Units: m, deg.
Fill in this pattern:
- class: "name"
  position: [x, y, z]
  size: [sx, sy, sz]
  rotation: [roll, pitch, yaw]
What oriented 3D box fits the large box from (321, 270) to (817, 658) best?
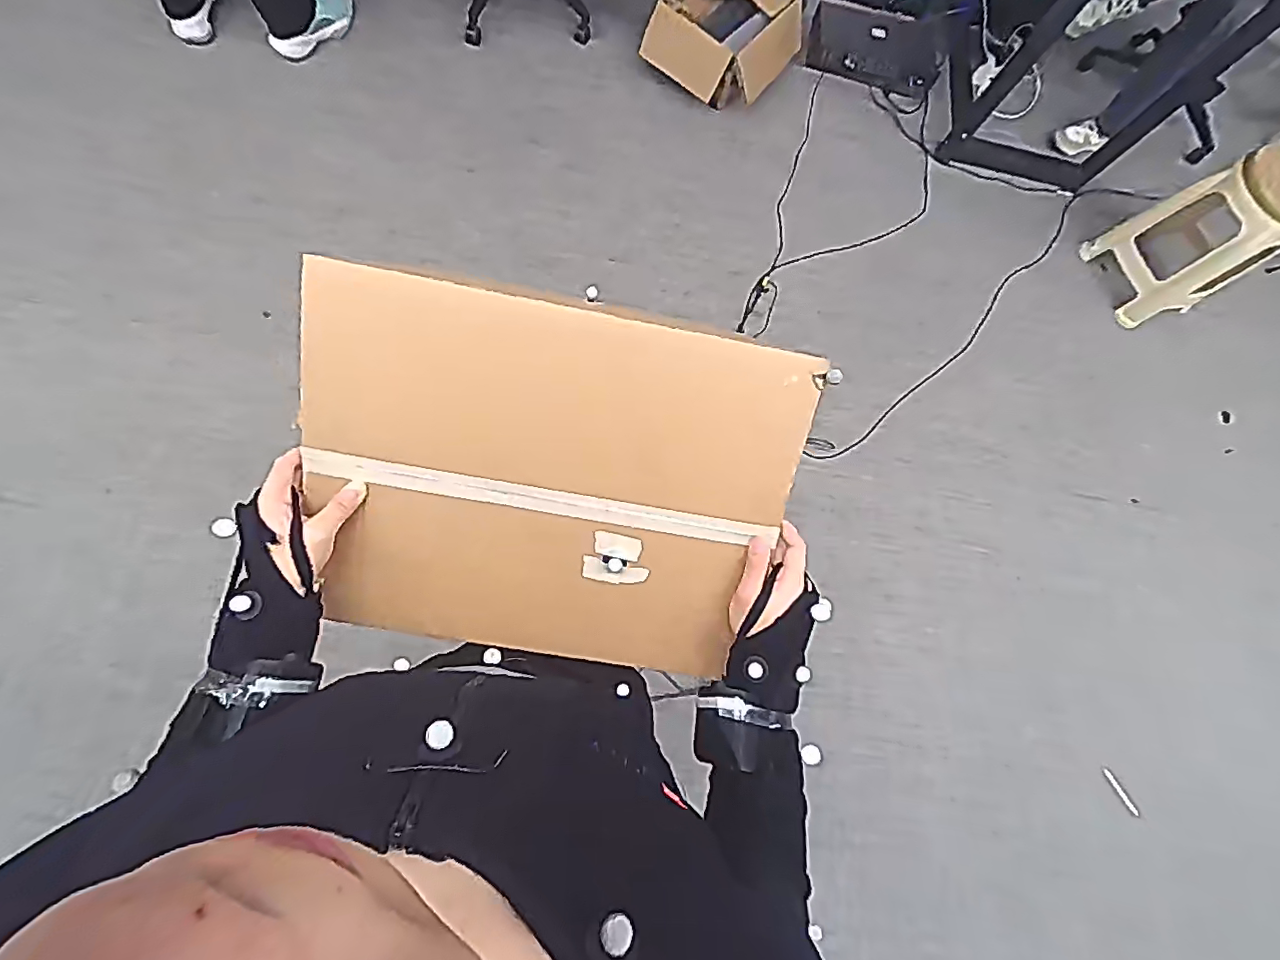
- class: "large box"
  position: [-0.081, -0.039, 0.615]
  size: [0.408, 0.320, 0.320]
  rotation: [9, 110, -6]
